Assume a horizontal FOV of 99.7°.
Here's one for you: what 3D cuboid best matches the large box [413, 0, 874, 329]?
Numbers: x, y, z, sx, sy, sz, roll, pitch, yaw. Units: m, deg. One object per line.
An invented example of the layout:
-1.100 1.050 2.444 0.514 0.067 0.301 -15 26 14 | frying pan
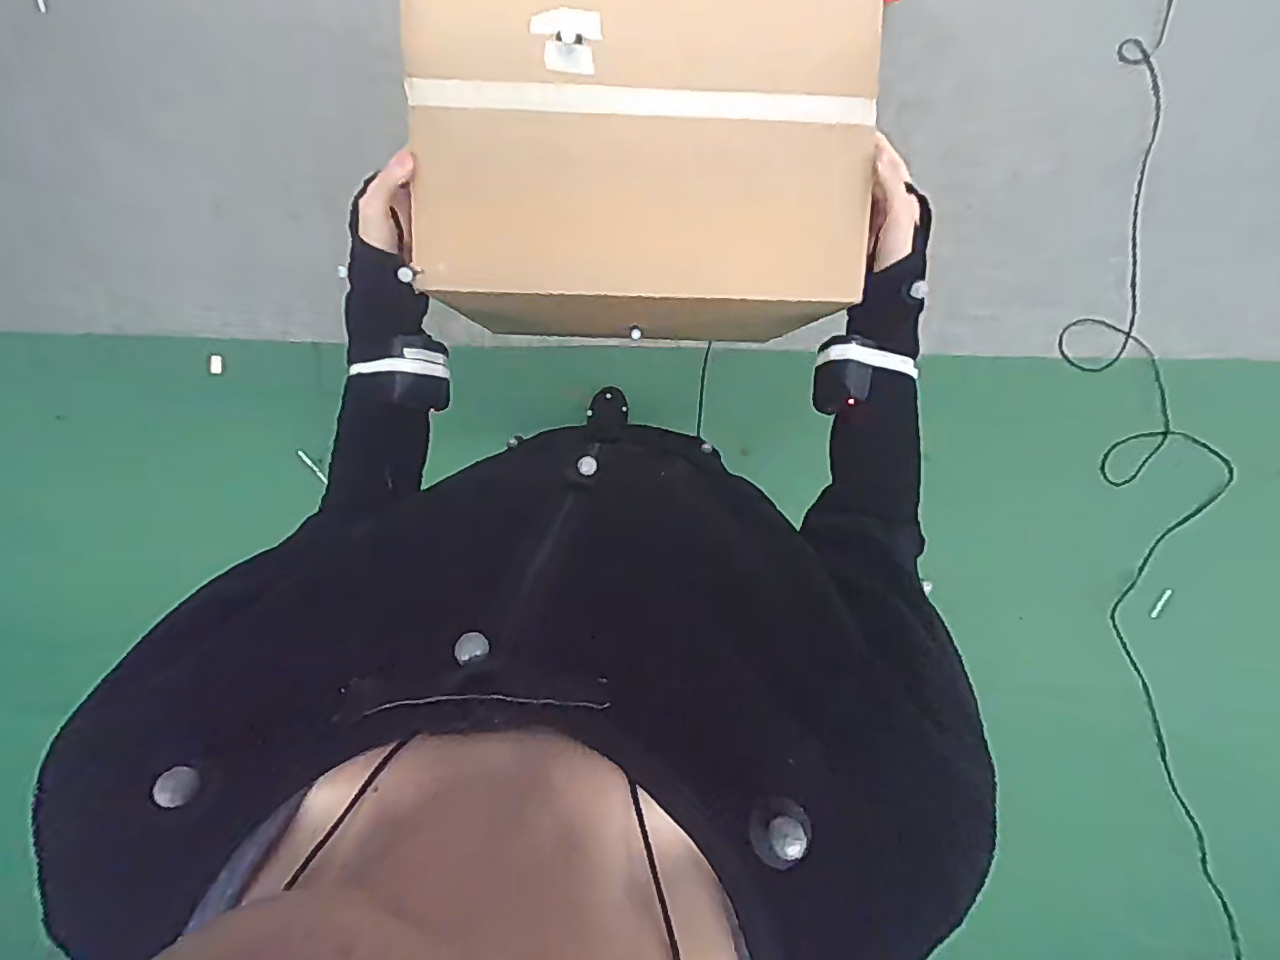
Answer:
0.000 -0.348 0.623 0.408 0.320 0.320 1 98 -2 | large box
